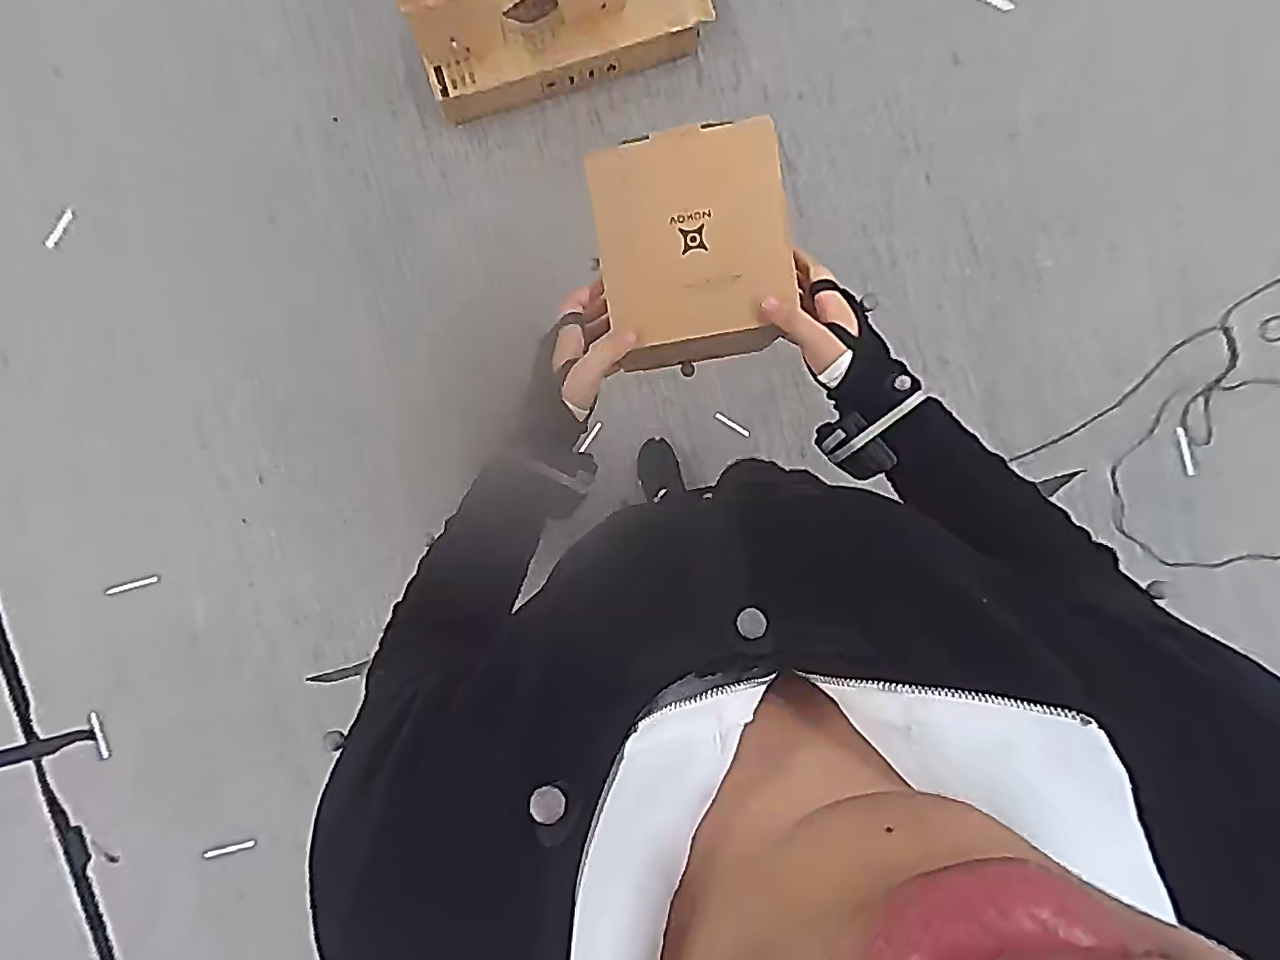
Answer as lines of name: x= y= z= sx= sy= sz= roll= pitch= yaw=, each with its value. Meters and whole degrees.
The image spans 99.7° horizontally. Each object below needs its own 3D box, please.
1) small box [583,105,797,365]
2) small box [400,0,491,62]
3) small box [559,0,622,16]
small box: x=0.044 y=-0.224 z=0.540 sx=0.168 sy=0.176 sz=0.179 roll=-9 pitch=94 yaw=2
small box: x=-0.472 y=-1.149 z=1.276 sx=0.168 sy=0.176 sz=0.179 roll=-17 pitch=91 yaw=1
small box: x=-0.137 y=-1.248 z=1.269 sx=0.168 sy=0.176 sz=0.179 roll=-18 pitch=92 yaw=3
